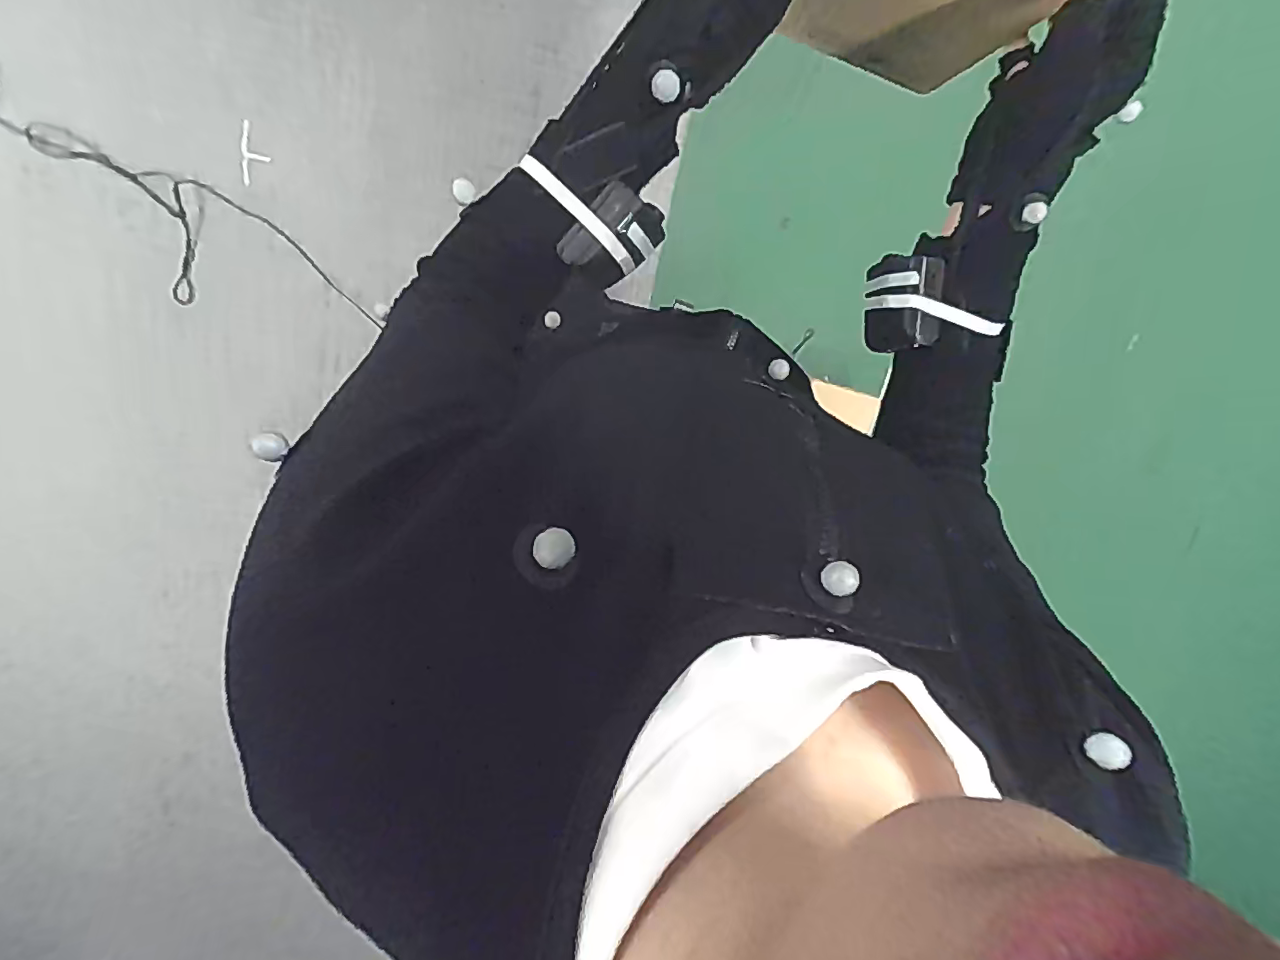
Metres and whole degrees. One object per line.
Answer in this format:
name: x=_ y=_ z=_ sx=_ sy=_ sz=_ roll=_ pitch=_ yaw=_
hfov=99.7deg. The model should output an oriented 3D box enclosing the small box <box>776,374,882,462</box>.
small box: x=0.469 y=-0.164 z=1.370 sx=0.179 sy=0.176 sz=0.168 roll=15 pitch=107 yaw=-4
